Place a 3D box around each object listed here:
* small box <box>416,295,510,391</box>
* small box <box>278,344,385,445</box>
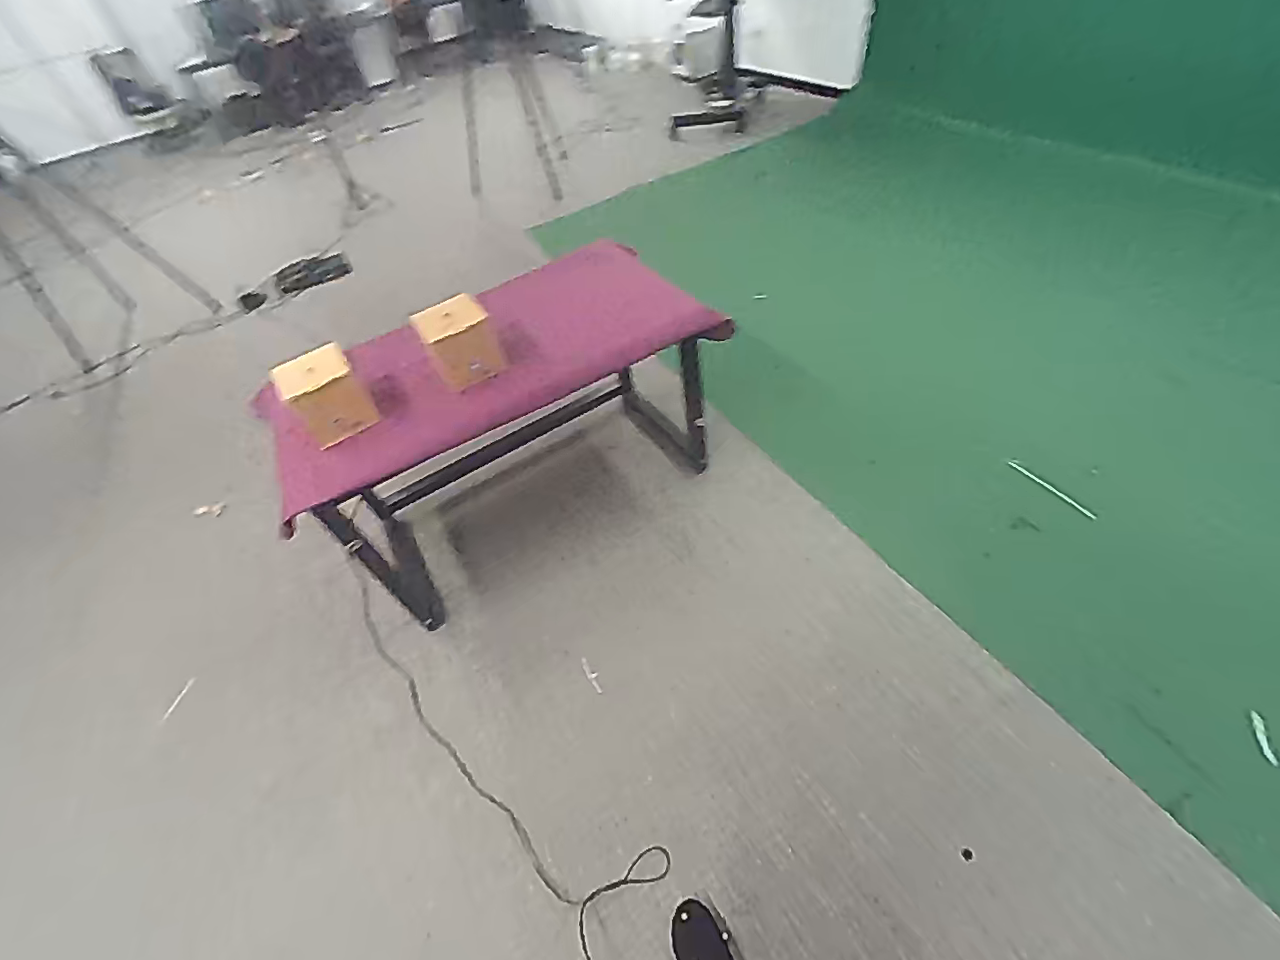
[{"bbox_3d":[-0.486,-0.378,1.495,0.168,0.176,0.179,-30,51,-15],"label":"small box"},{"bbox_3d":[-0.808,-0.223,1.424,0.168,0.176,0.179,-32,52,-17],"label":"small box"}]
